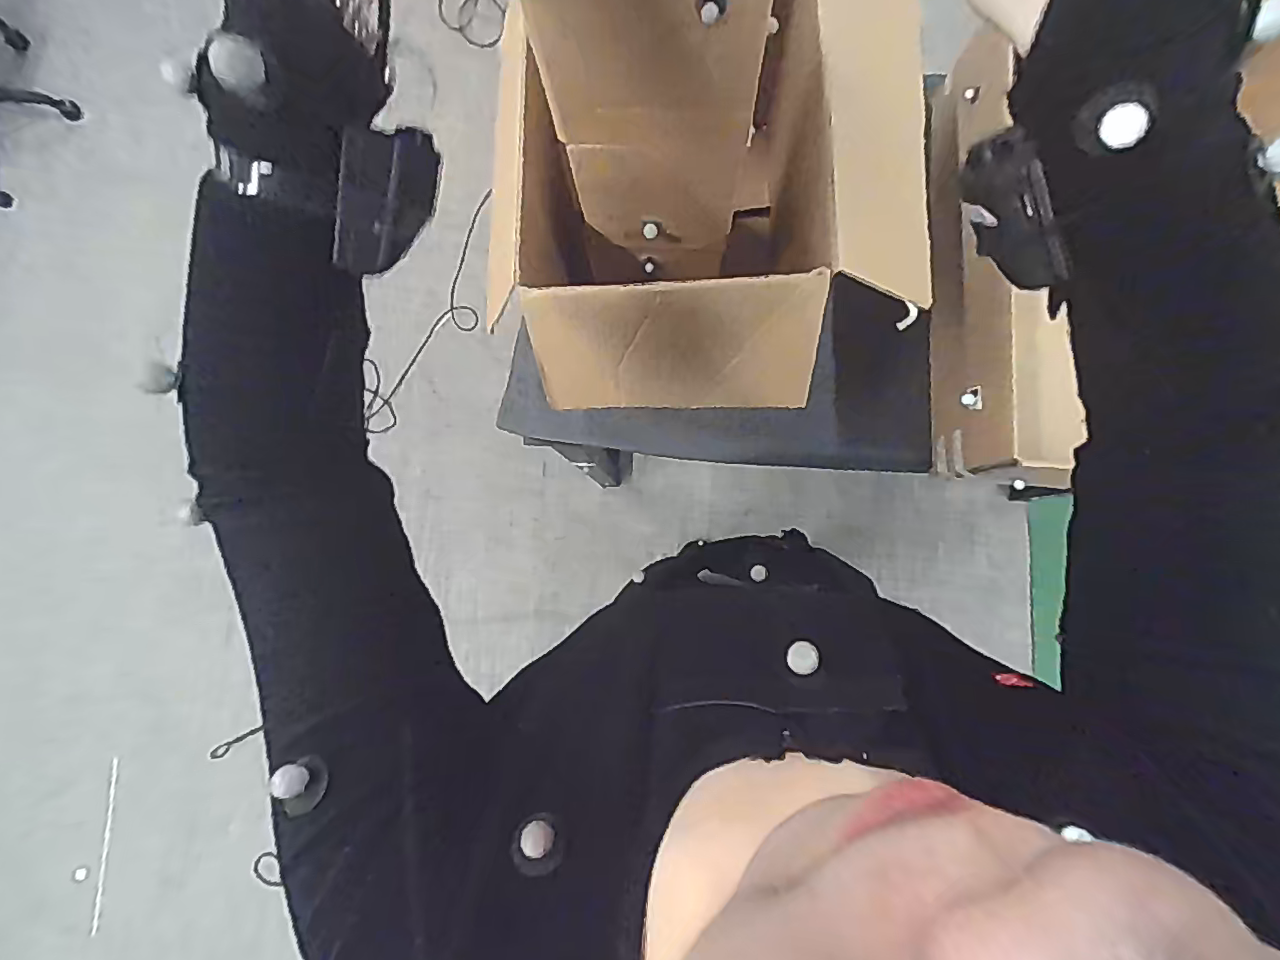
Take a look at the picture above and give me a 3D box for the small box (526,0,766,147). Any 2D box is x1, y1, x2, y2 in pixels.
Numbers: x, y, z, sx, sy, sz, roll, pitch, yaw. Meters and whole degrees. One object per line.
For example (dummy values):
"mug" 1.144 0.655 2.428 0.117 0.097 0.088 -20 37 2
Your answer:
"small box" 0.010 -0.395 0.424 0.179 0.176 0.168 5 84 3

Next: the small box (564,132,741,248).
"small box" 0.021 -0.381 0.584 0.168 0.176 0.179 5 85 4
